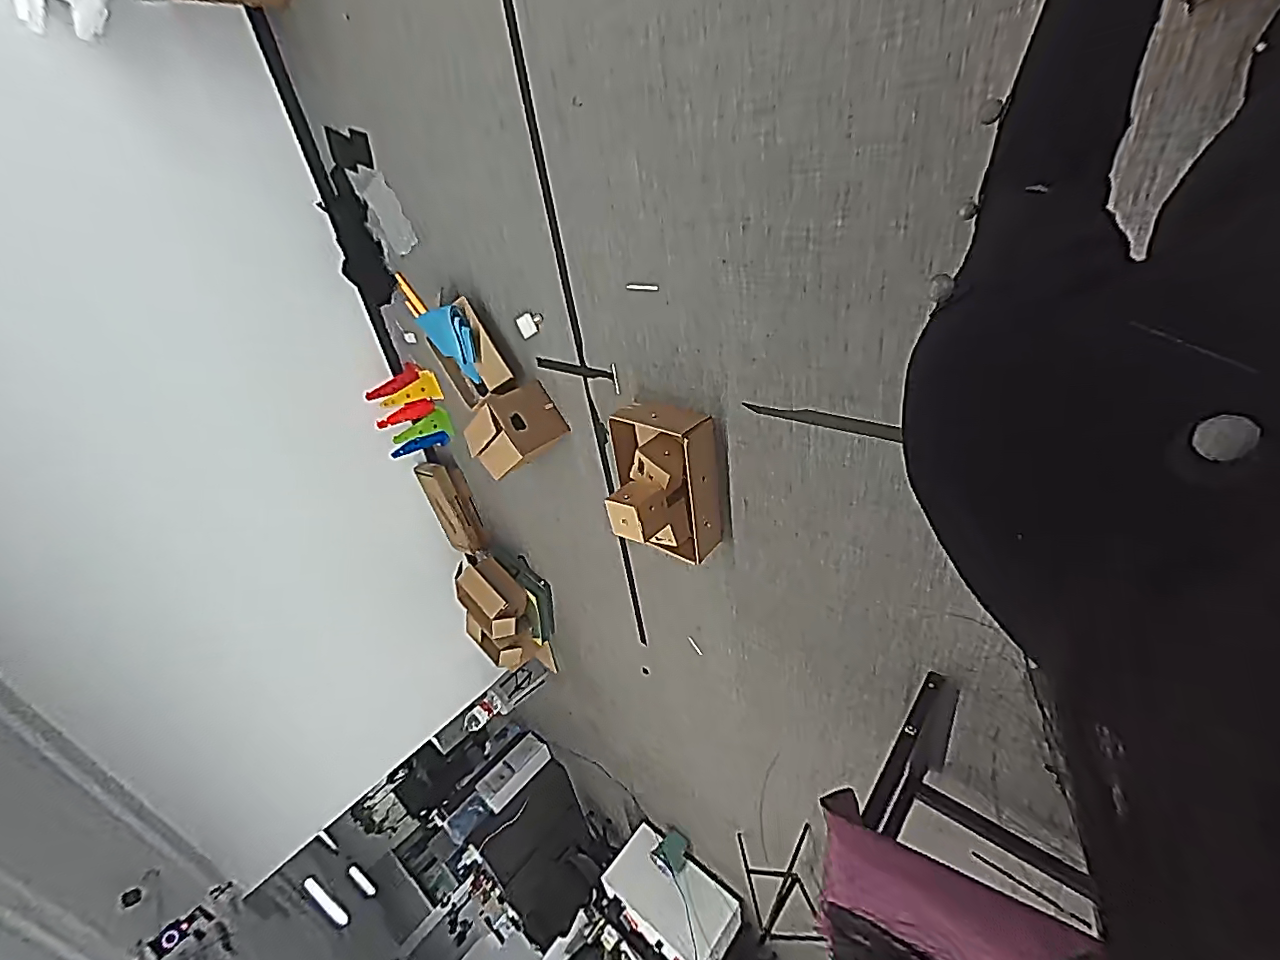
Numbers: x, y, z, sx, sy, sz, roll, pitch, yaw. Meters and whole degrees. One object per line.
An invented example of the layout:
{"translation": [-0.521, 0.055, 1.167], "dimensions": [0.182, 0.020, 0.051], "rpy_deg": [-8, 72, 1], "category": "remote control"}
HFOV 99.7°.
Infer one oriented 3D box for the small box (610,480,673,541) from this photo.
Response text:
{"translation": [0.015, 0.115, 2.134], "dimensions": [0.179, 0.176, 0.168], "rpy_deg": [12, 126, 44], "category": "small box"}
